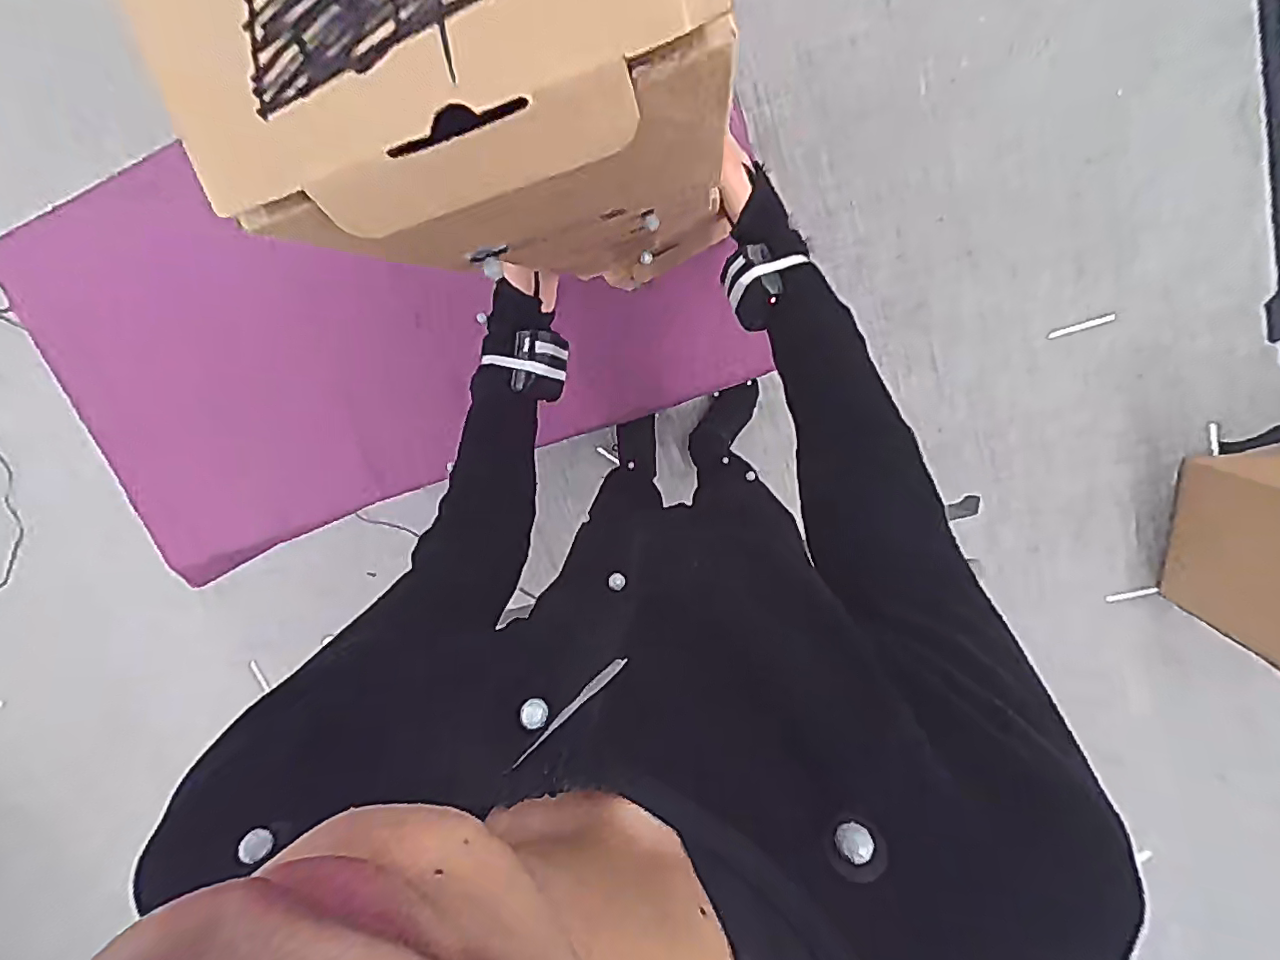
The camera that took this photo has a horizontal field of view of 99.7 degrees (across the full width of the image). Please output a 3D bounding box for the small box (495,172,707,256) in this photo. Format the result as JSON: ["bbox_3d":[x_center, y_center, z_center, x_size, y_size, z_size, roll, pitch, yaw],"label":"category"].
[{"bbox_3d":[-0.051,-0.266,0.370,0.168,0.176,0.179,-13,103,11],"label":"small box"}]

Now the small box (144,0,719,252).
[{"bbox_3d":[-0.066,-0.205,0.218,0.168,0.176,0.179,-14,103,10],"label":"small box"}]
